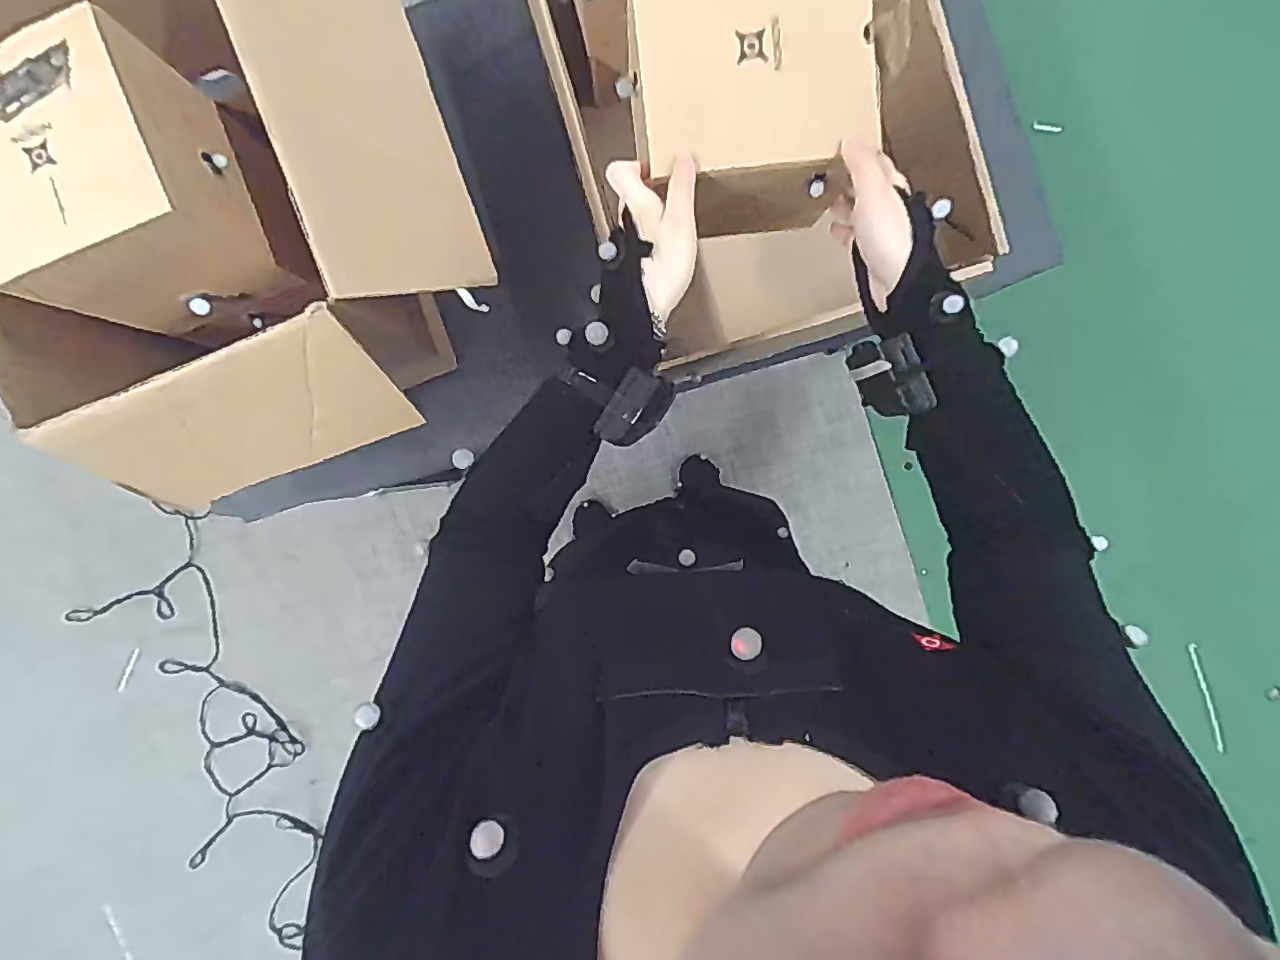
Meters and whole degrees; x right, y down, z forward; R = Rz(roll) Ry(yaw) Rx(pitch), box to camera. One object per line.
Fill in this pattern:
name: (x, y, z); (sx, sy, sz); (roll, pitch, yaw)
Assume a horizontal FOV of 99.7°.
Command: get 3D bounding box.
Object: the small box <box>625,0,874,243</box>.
small box: (0.082, -0.324, 0.479); (0.179, 0.176, 0.168); (-7, 98, 0)
